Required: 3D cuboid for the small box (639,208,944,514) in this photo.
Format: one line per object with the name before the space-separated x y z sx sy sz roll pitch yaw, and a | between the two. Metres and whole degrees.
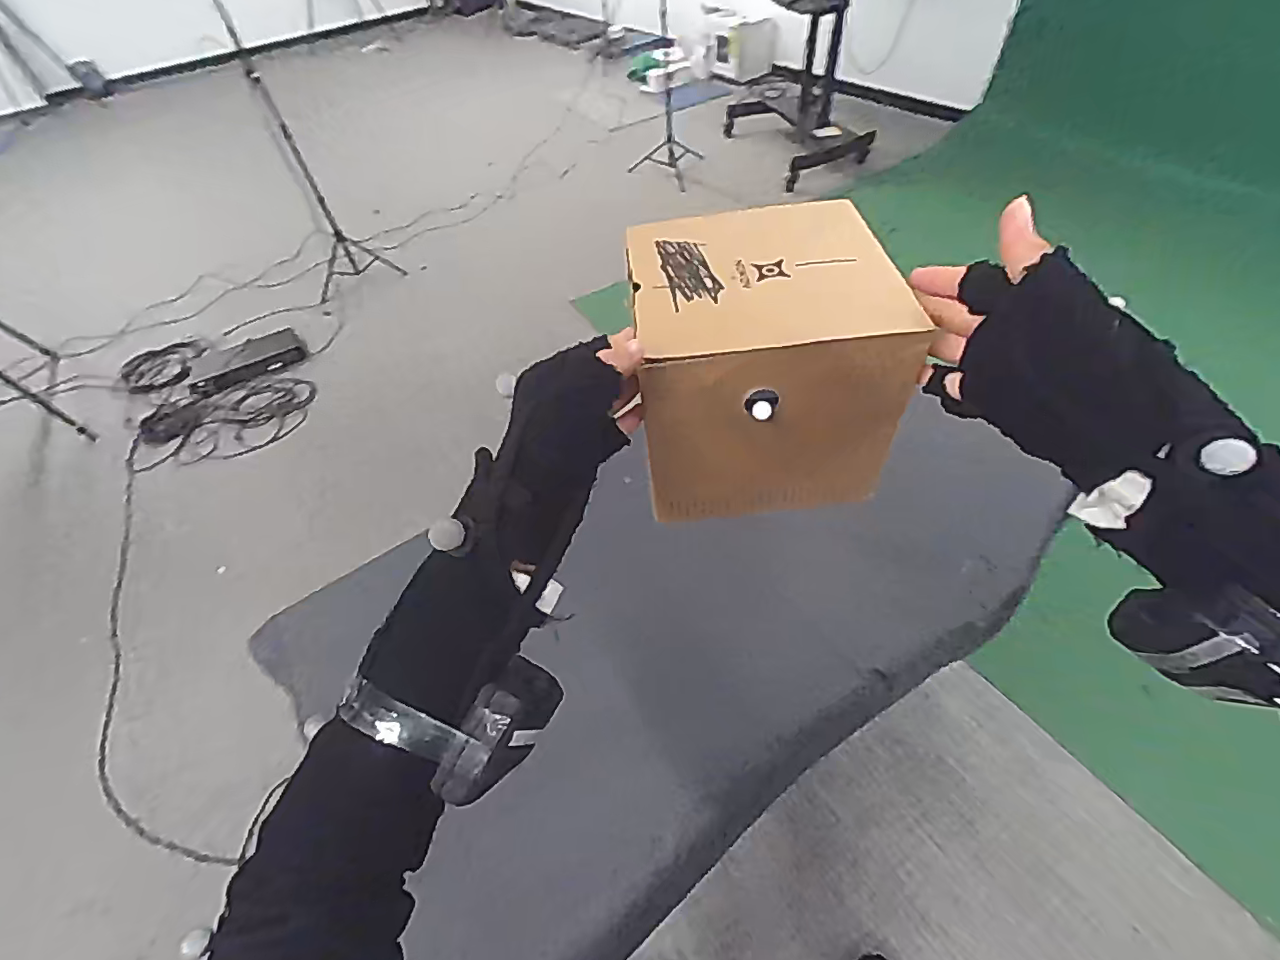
small box | 0.097 -0.087 0.430 0.179 0.176 0.168 -6 51 2
